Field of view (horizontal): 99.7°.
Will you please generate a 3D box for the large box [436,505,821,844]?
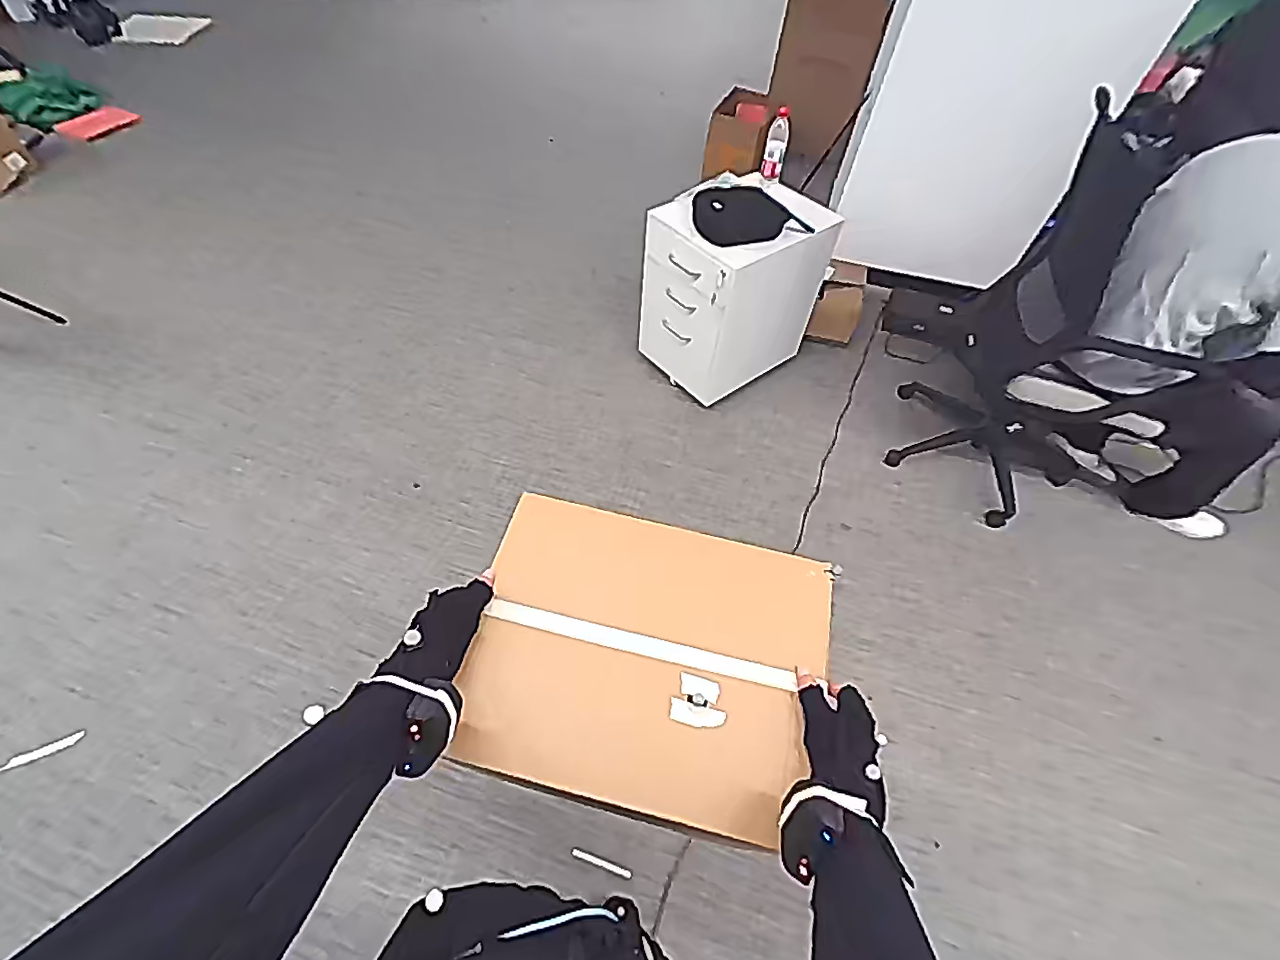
[{"bbox_3d":[-0.003,0.277,0.755,0.408,0.320,0.320,13,59,4],"label":"large box"}]
